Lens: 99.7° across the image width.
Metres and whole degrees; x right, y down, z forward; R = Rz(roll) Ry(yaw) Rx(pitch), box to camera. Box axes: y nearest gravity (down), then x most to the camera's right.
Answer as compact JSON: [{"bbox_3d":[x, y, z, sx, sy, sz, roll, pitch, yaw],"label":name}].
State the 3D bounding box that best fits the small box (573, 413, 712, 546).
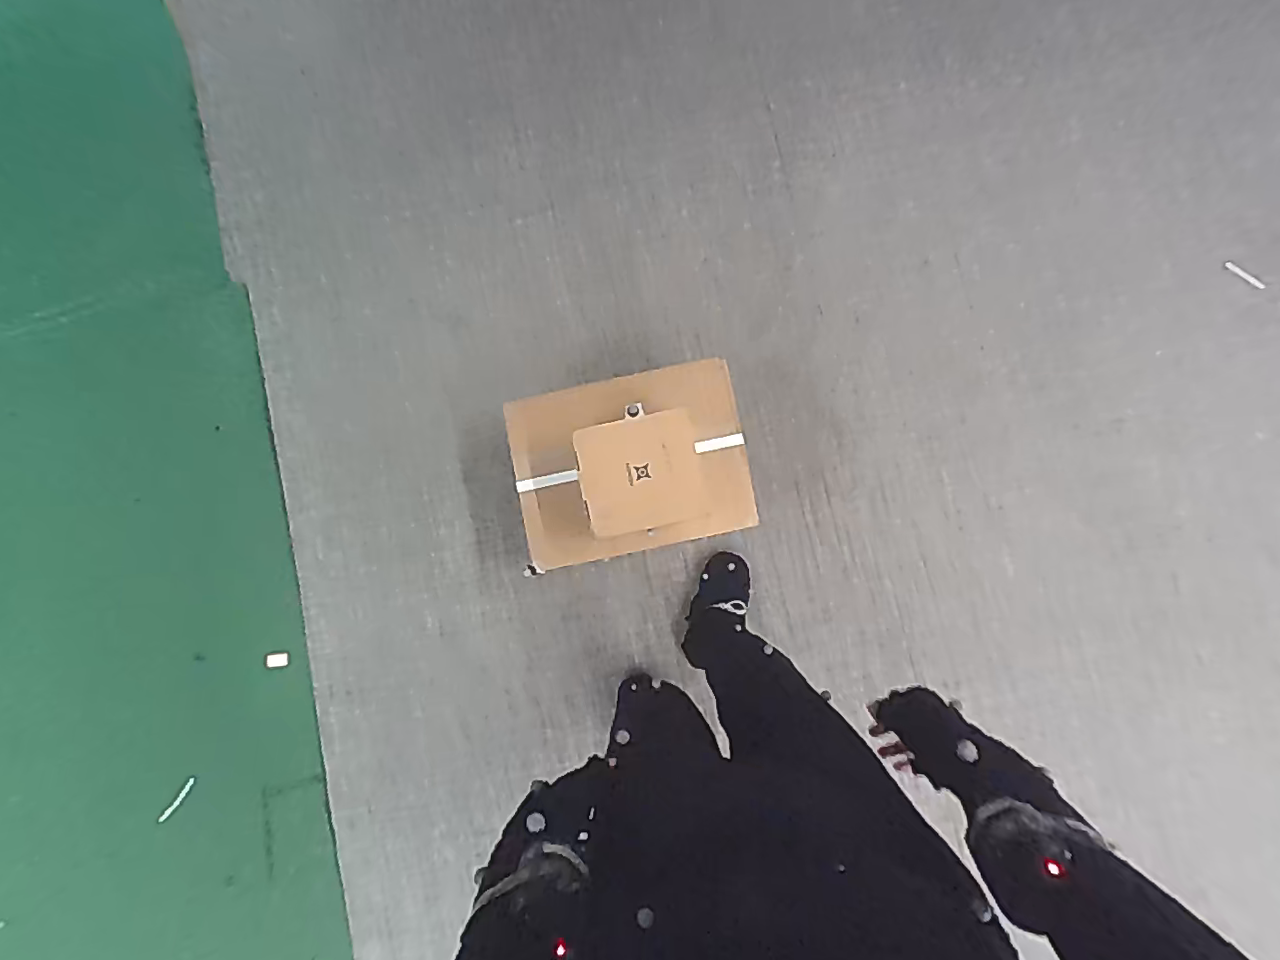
[{"bbox_3d":[0.006,0.005,0.863,0.179,0.176,0.168,-14,87,0],"label":"small box"}]
